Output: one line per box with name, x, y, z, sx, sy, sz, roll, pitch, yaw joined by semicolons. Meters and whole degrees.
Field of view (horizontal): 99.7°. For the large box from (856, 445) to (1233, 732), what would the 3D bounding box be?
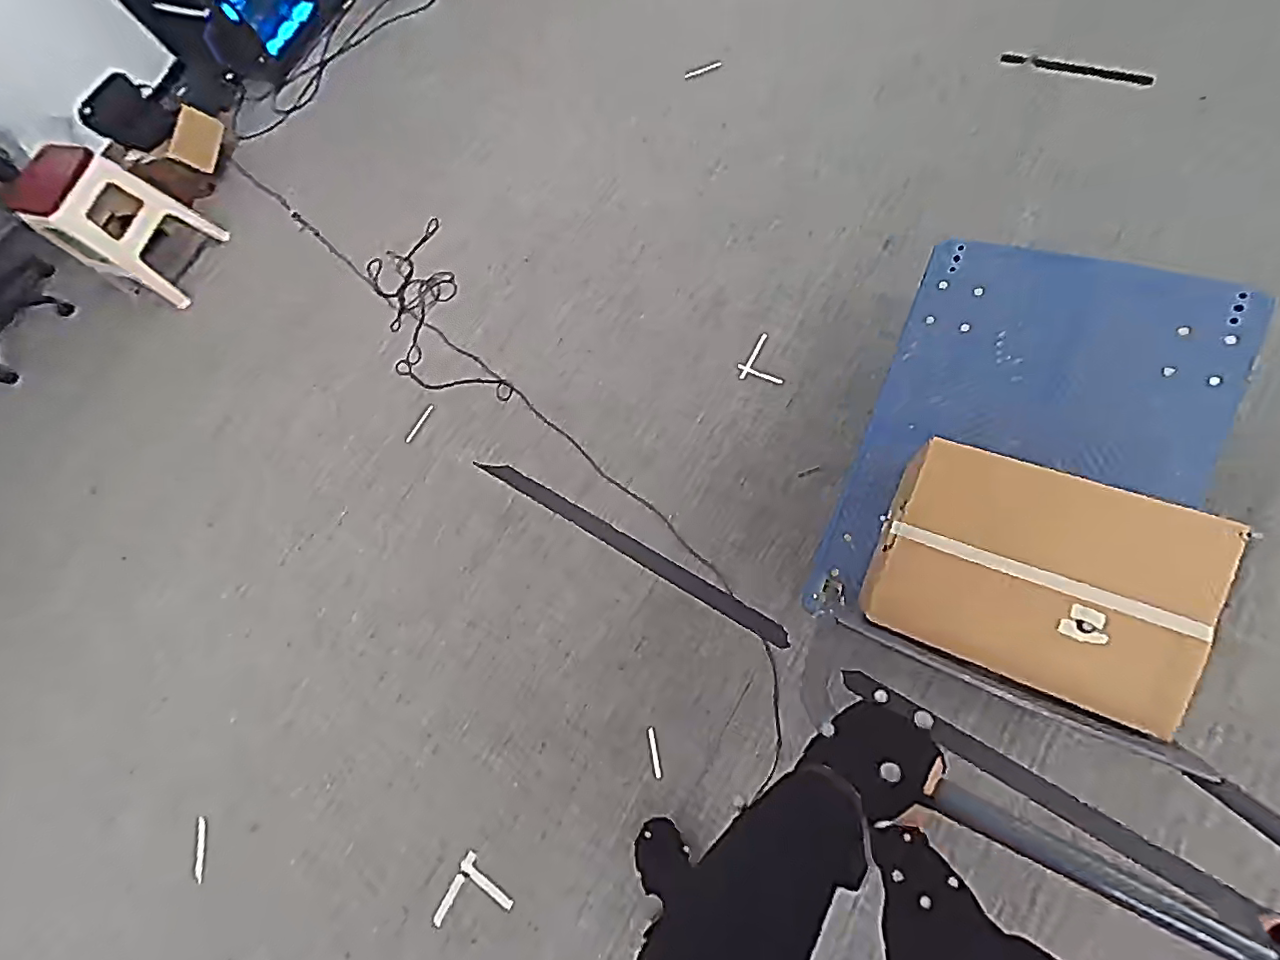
large box;0.636;0.162;0.948;0.408;0.320;0.320;20;91;20
